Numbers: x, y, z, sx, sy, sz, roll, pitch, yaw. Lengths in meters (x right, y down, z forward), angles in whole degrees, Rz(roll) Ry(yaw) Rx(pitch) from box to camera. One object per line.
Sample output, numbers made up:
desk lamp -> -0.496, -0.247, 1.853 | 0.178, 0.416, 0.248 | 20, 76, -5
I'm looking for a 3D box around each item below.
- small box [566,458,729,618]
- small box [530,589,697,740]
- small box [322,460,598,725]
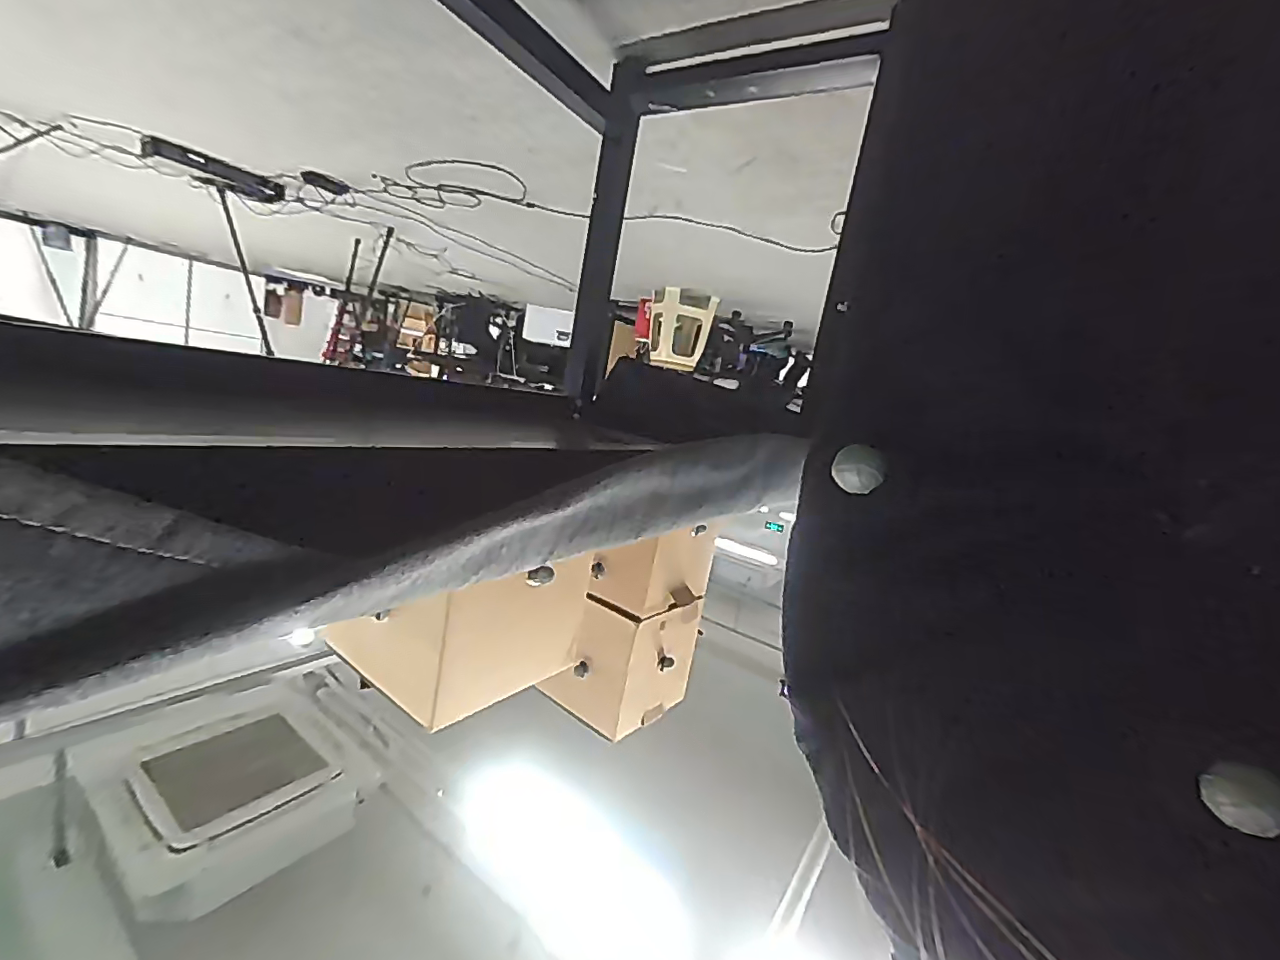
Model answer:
small box -> 0.000, 0.065, 0.751 | 0.179, 0.176, 0.168 | 17, -169, 34
small box -> -0.032, 0.225, 0.772 | 0.179, 0.176, 0.168 | 17, -170, 36
small box -> -0.160, 0.080, 0.499 | 0.179, 0.176, 0.168 | 17, -168, 33
